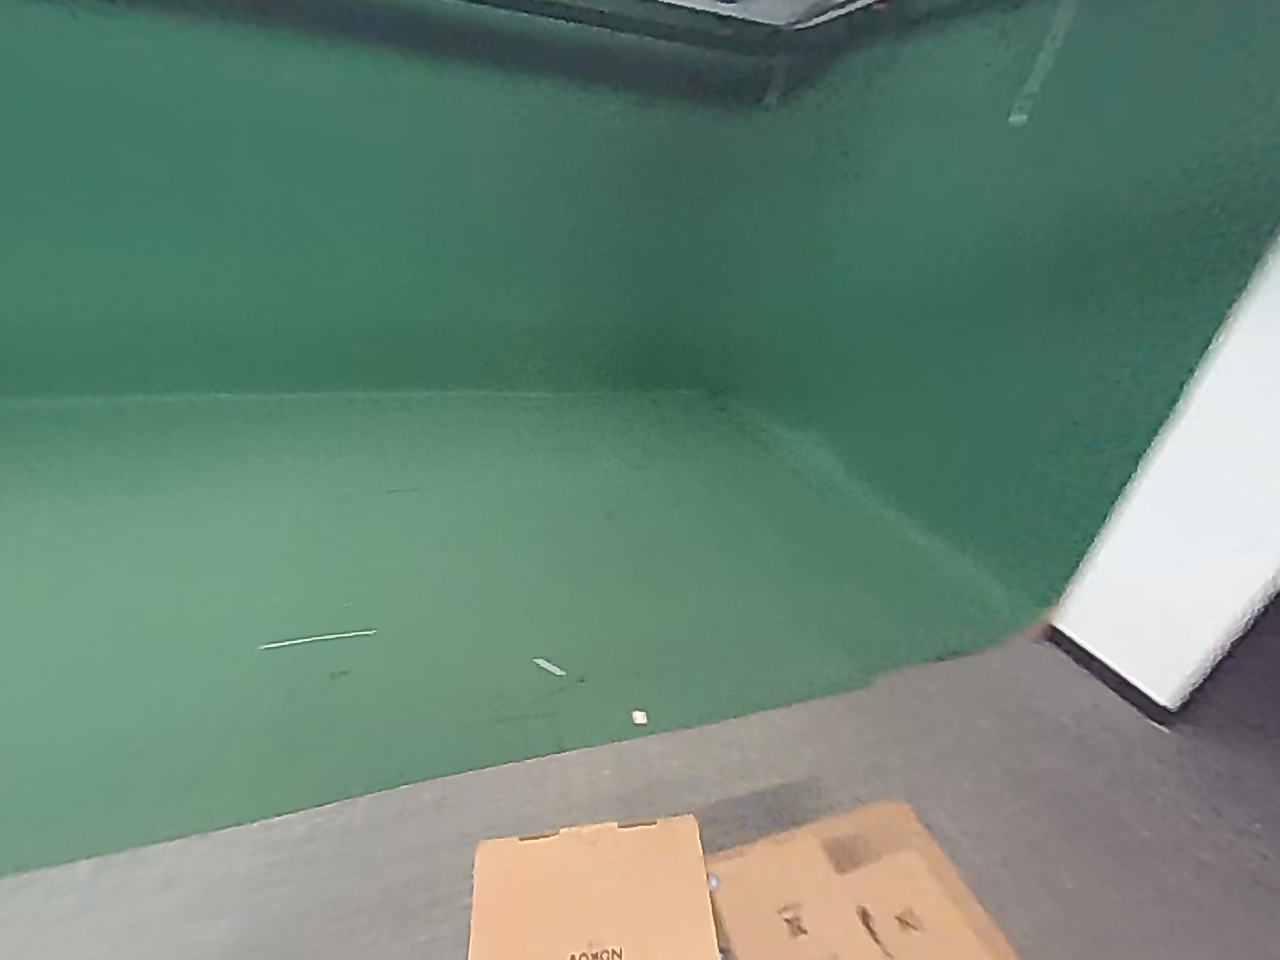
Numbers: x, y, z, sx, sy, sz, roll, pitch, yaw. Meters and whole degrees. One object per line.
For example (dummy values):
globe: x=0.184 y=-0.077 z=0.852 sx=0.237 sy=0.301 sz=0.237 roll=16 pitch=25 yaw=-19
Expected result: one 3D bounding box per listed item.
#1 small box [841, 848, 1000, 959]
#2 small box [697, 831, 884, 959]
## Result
small box: x=0.397 y=0.720 z=0.835 sx=0.179 sy=0.176 sz=0.168 roll=-4 pitch=28 yaw=-19
small box: x=0.181 y=0.597 z=0.686 sx=0.168 sy=0.176 sz=0.179 roll=-5 pitch=31 yaw=-15
